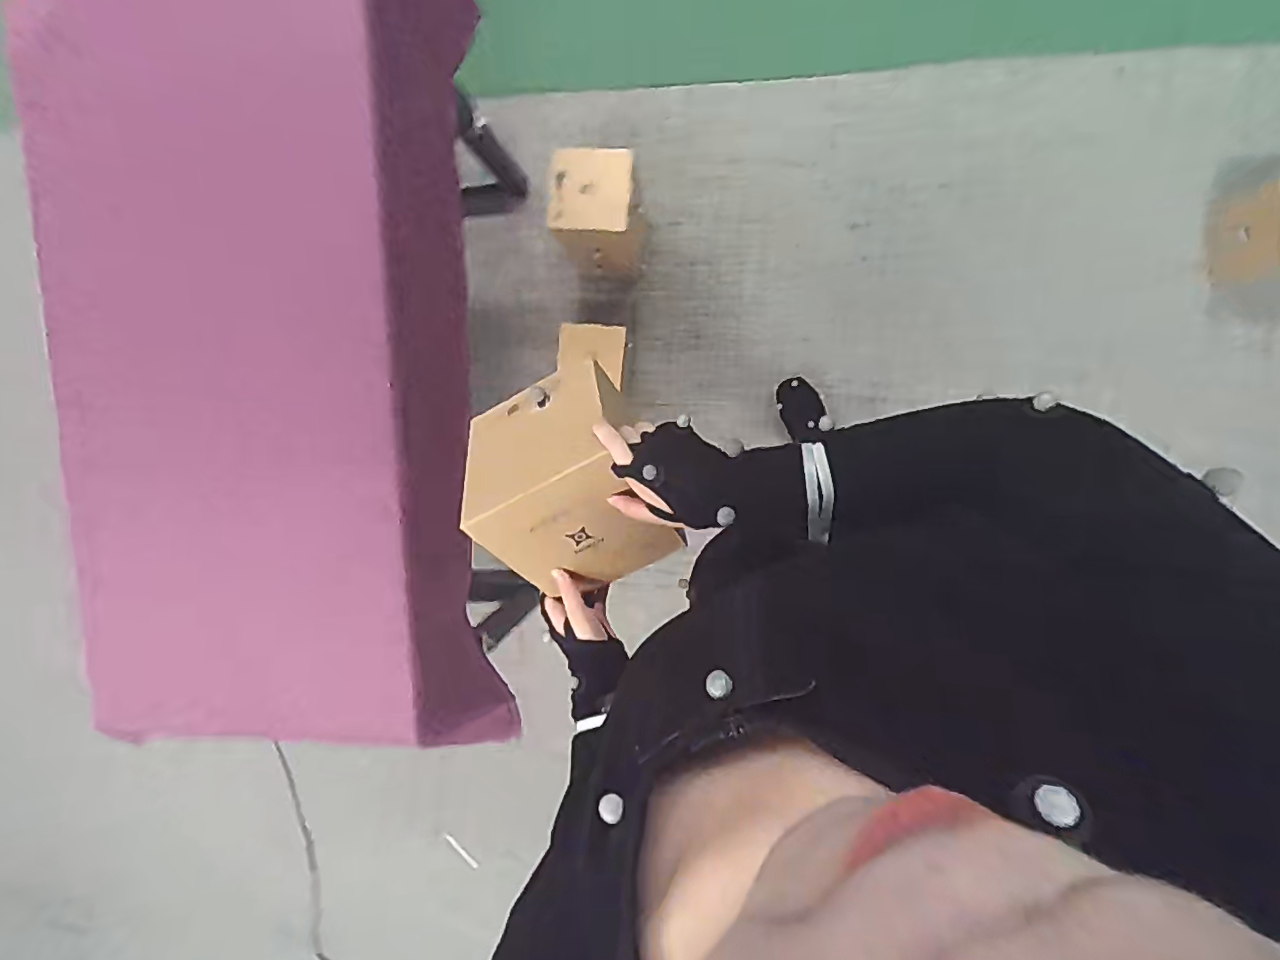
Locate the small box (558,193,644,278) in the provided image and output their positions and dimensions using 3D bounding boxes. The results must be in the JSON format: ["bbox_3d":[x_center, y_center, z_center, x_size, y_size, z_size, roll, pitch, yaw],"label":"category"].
[{"bbox_3d":[-0.092,-0.628,1.382,0.179,0.176,0.168,10,96,8],"label":"small box"}]

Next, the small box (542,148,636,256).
[{"bbox_3d":[-0.108,-0.618,1.219,0.179,0.176,0.168,6,95,6],"label":"small box"}]
